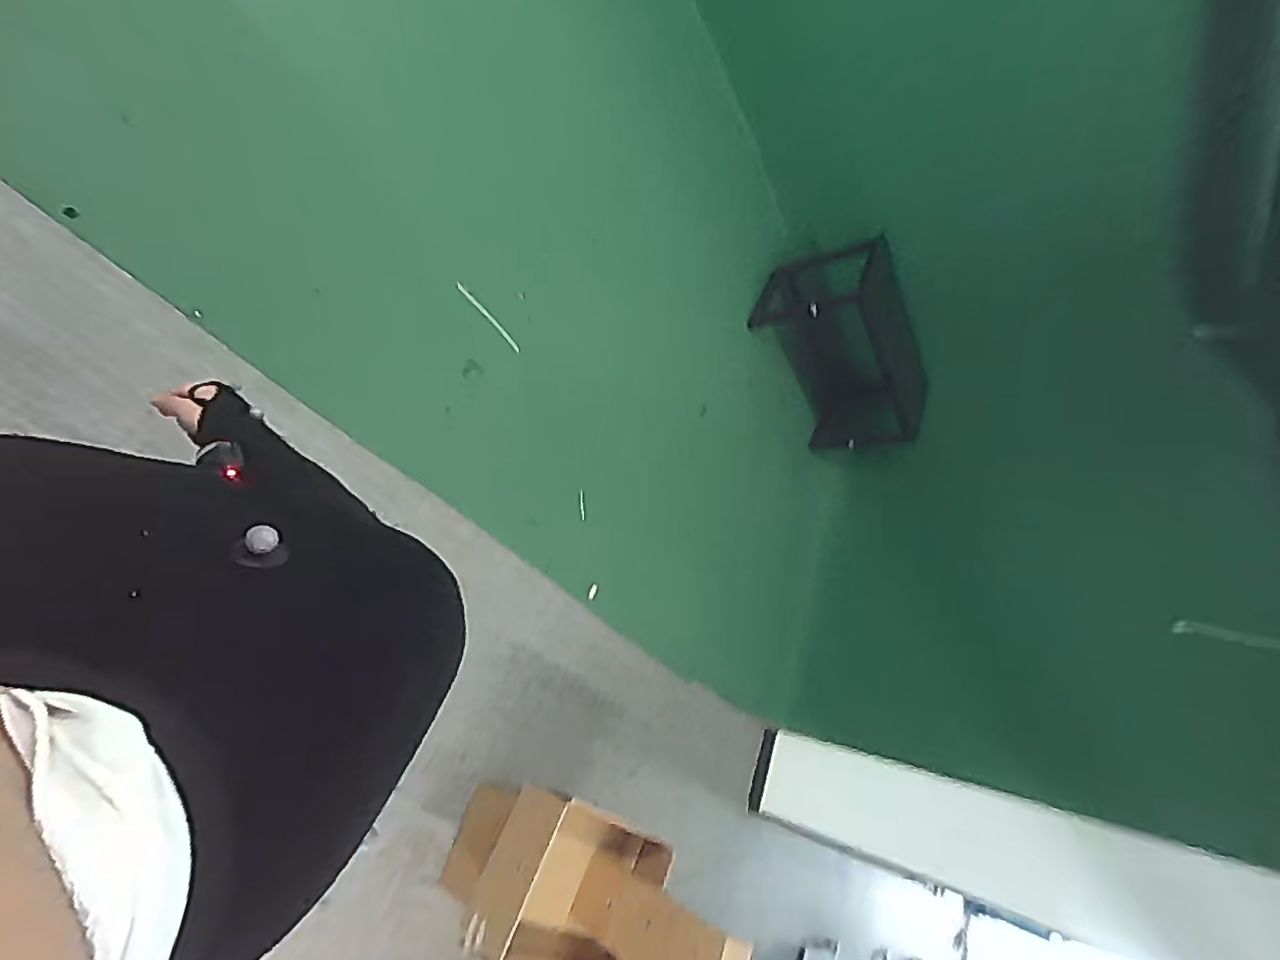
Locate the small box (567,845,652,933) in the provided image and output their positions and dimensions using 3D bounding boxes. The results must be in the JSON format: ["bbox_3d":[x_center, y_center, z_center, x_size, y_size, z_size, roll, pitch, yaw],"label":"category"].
[{"bbox_3d":[-0.096,1.276,1.680,0.168,0.176,0.179,52,52,-35],"label":"small box"}]

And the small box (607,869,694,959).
[{"bbox_3d":[0.030,1.274,1.575,0.168,0.176,0.179,50,52,-35],"label":"small box"}]
